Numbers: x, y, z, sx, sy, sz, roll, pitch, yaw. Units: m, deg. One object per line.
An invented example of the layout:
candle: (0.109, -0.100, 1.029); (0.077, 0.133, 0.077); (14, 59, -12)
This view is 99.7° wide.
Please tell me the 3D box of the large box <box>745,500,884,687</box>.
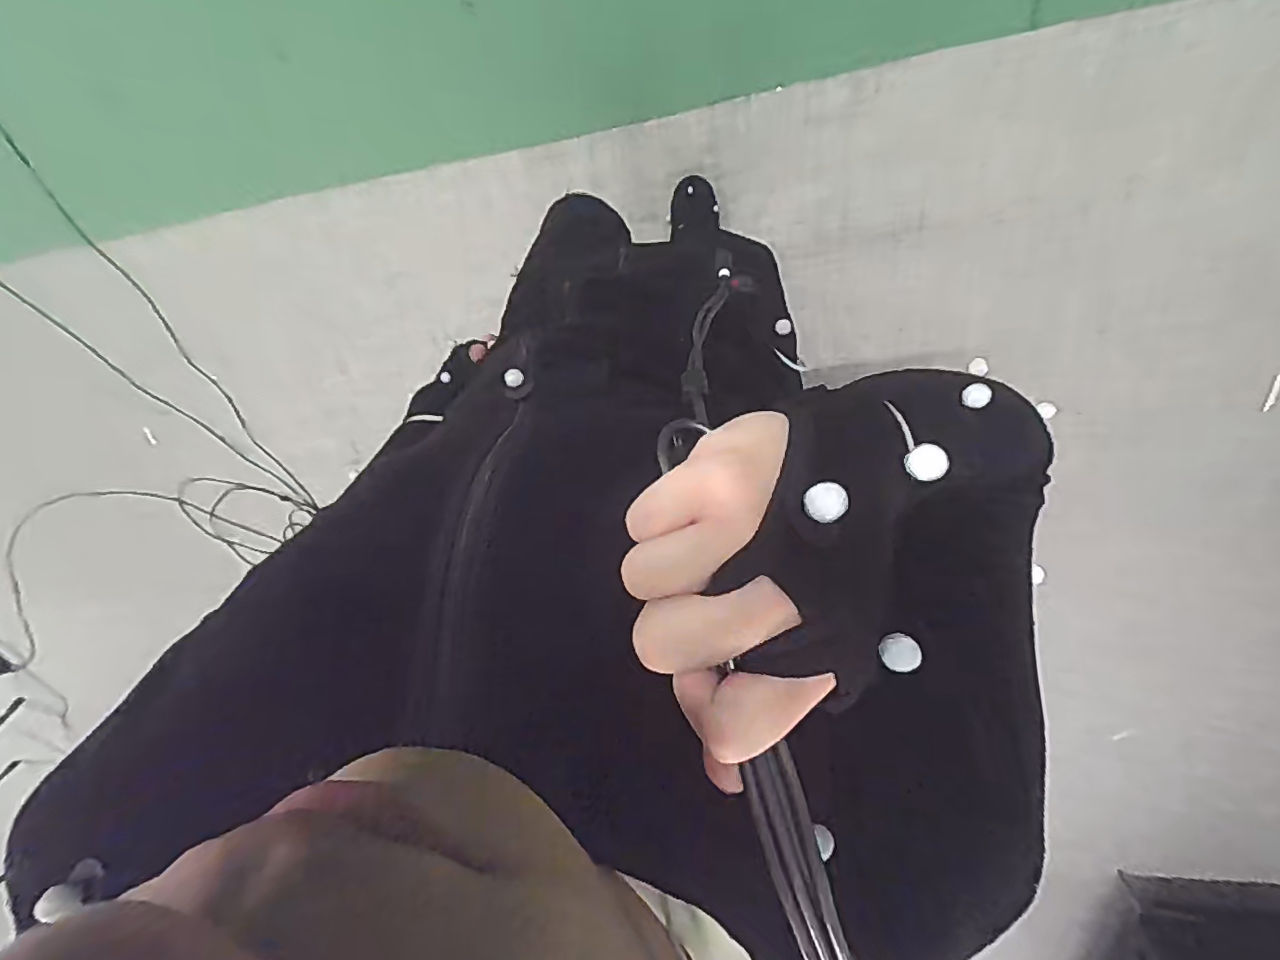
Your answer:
large box: (0.476, 0.313, 1.509); (0.320, 0.320, 0.408); (-6, 120, 12)
